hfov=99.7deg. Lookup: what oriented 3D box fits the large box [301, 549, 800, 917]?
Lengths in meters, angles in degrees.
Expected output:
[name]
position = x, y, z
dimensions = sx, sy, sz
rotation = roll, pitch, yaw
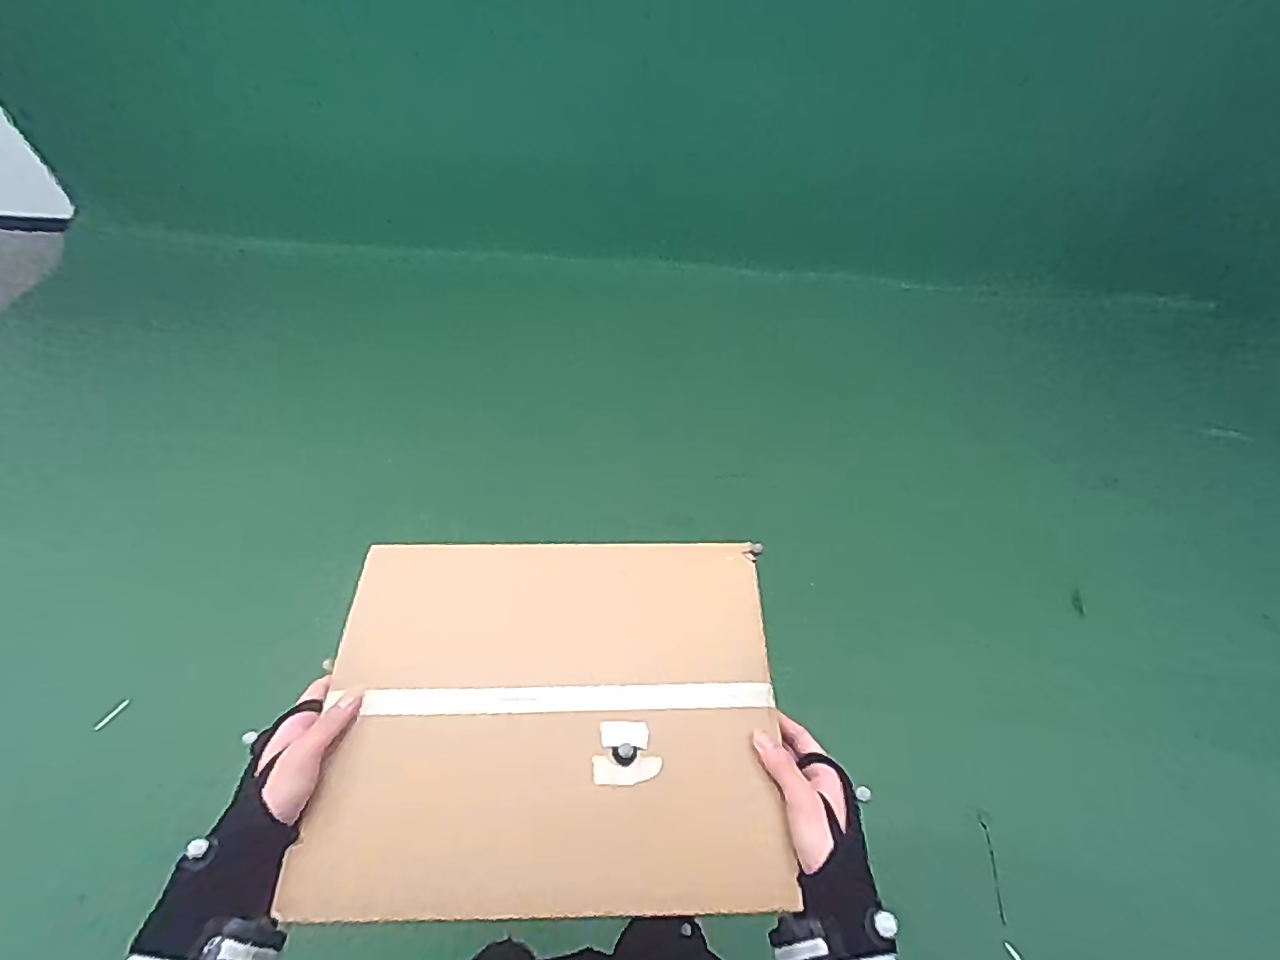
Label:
[large box]
position = -0.078, 0.288, 0.632
dimensions = 0.408, 0.320, 0.320
rotation = 0, 57, -2
